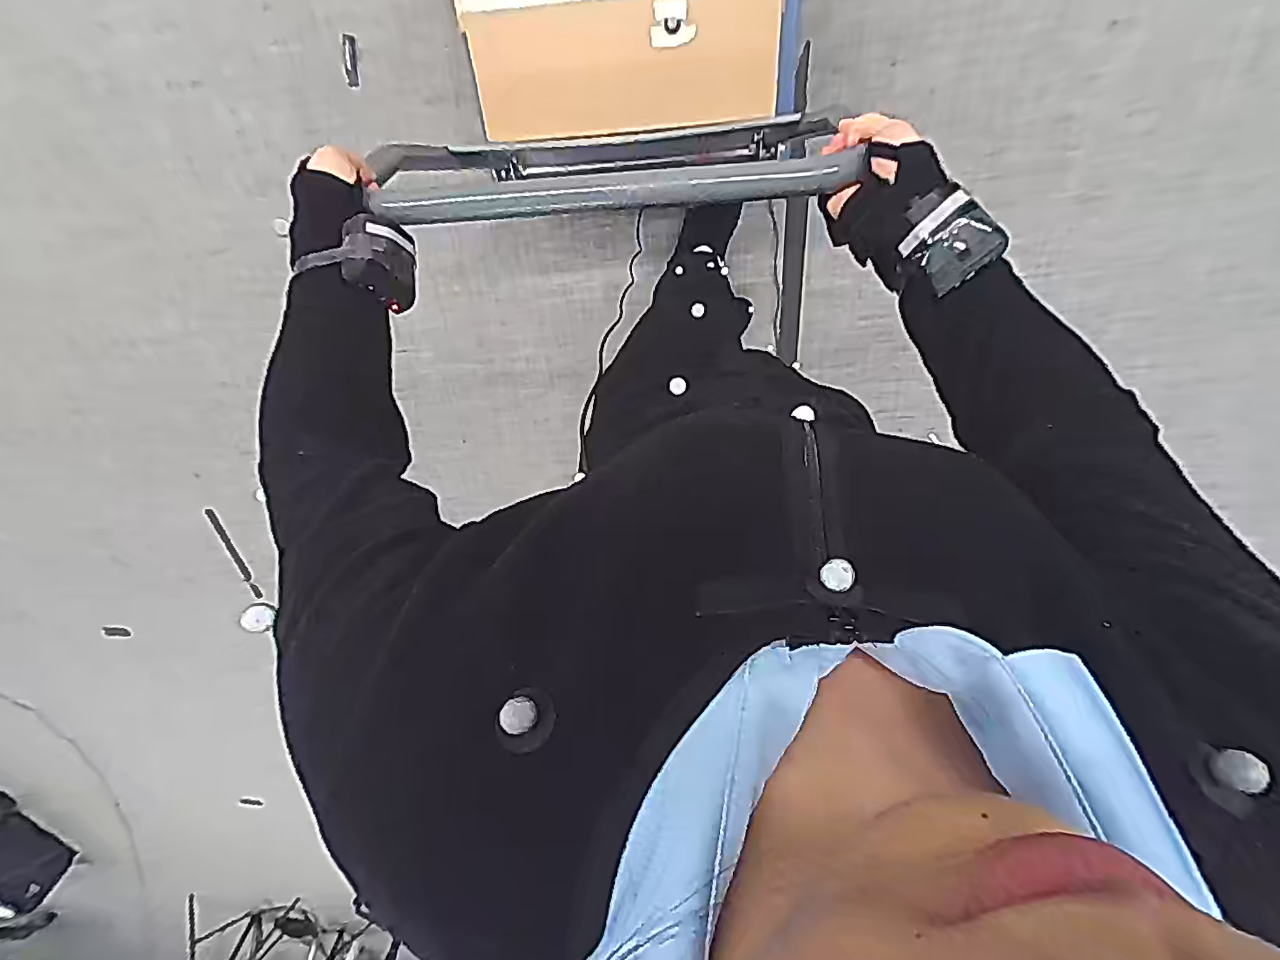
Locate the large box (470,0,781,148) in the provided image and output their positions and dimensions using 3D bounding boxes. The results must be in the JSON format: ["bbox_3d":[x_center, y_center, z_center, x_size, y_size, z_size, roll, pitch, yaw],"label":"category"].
[{"bbox_3d":[-0.018,-0.699,0.807,0.408,0.320,0.320,-3,123,4],"label":"large box"}]
